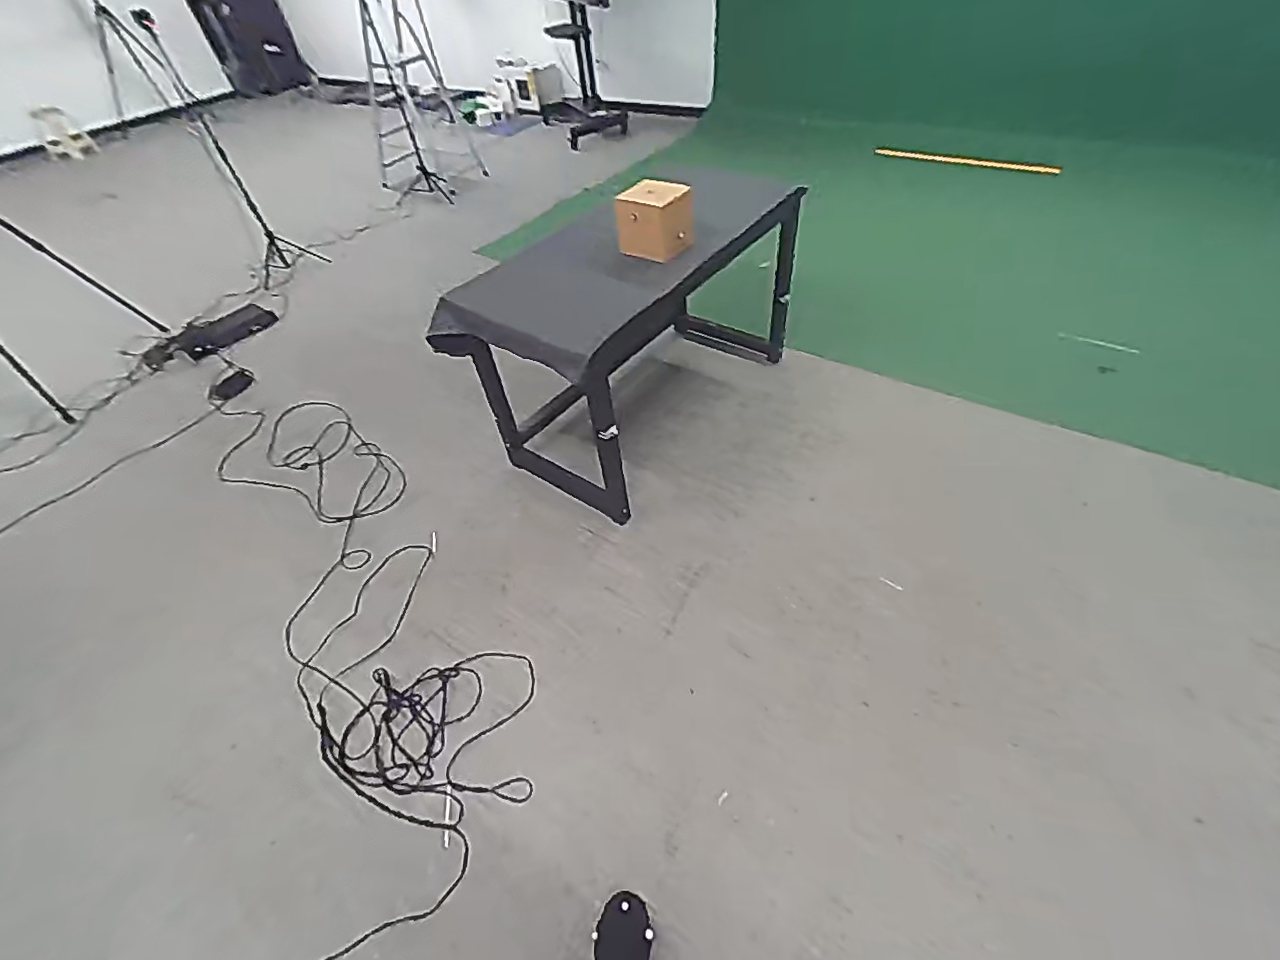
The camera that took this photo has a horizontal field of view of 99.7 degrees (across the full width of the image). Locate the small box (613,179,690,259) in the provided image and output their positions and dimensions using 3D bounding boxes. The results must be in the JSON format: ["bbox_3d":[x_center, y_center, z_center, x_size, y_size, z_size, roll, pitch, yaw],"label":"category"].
[{"bbox_3d":[0.041,-0.804,1.667,0.179,0.176,0.168,25,55,27],"label":"small box"}]
